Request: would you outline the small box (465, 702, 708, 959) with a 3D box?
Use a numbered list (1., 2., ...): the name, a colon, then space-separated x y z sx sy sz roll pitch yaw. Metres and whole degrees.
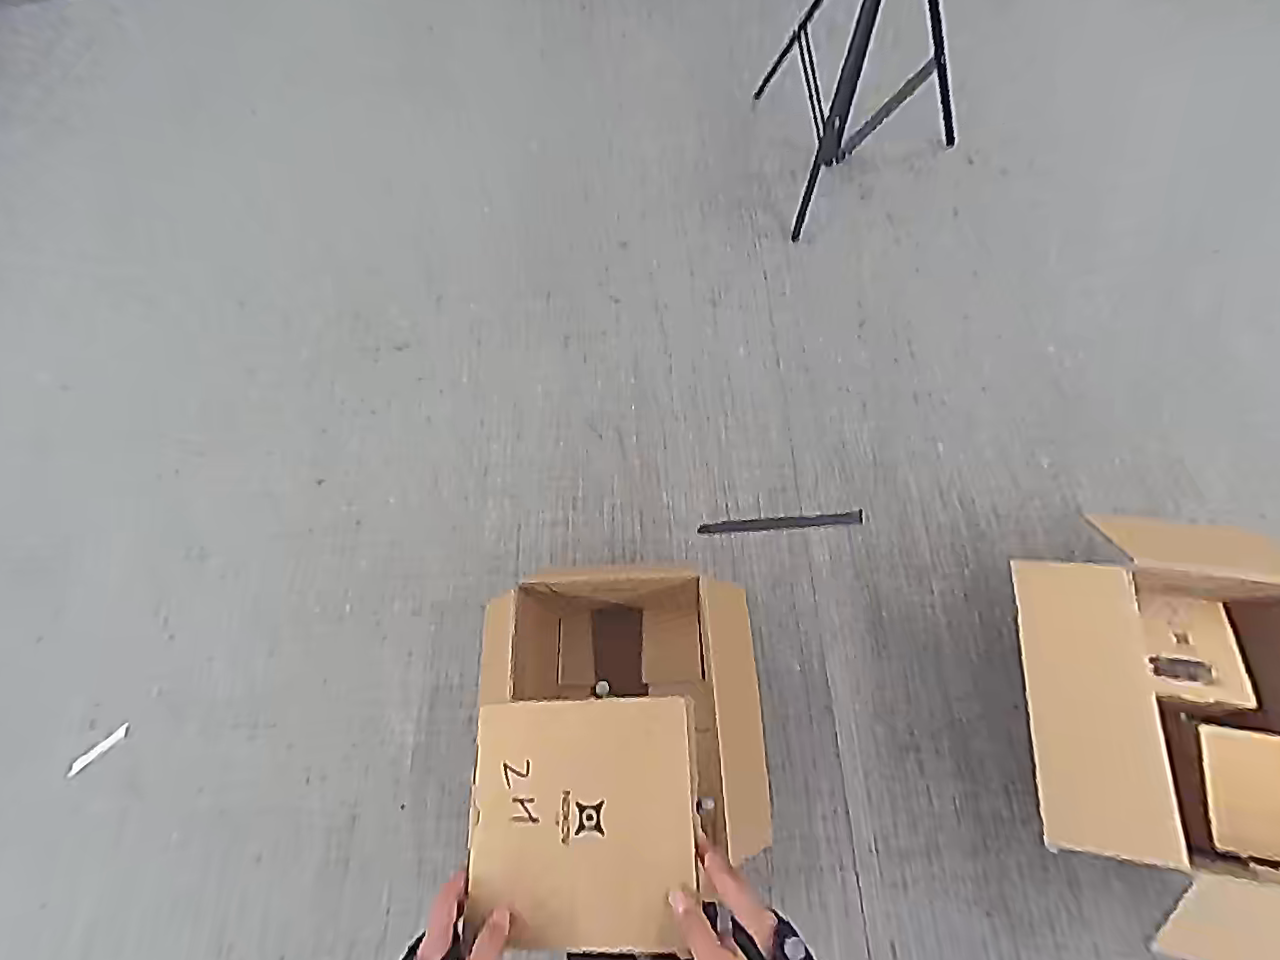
1. small box: -0.033 0.289 0.484 0.179 0.176 0.168 -4 67 6
